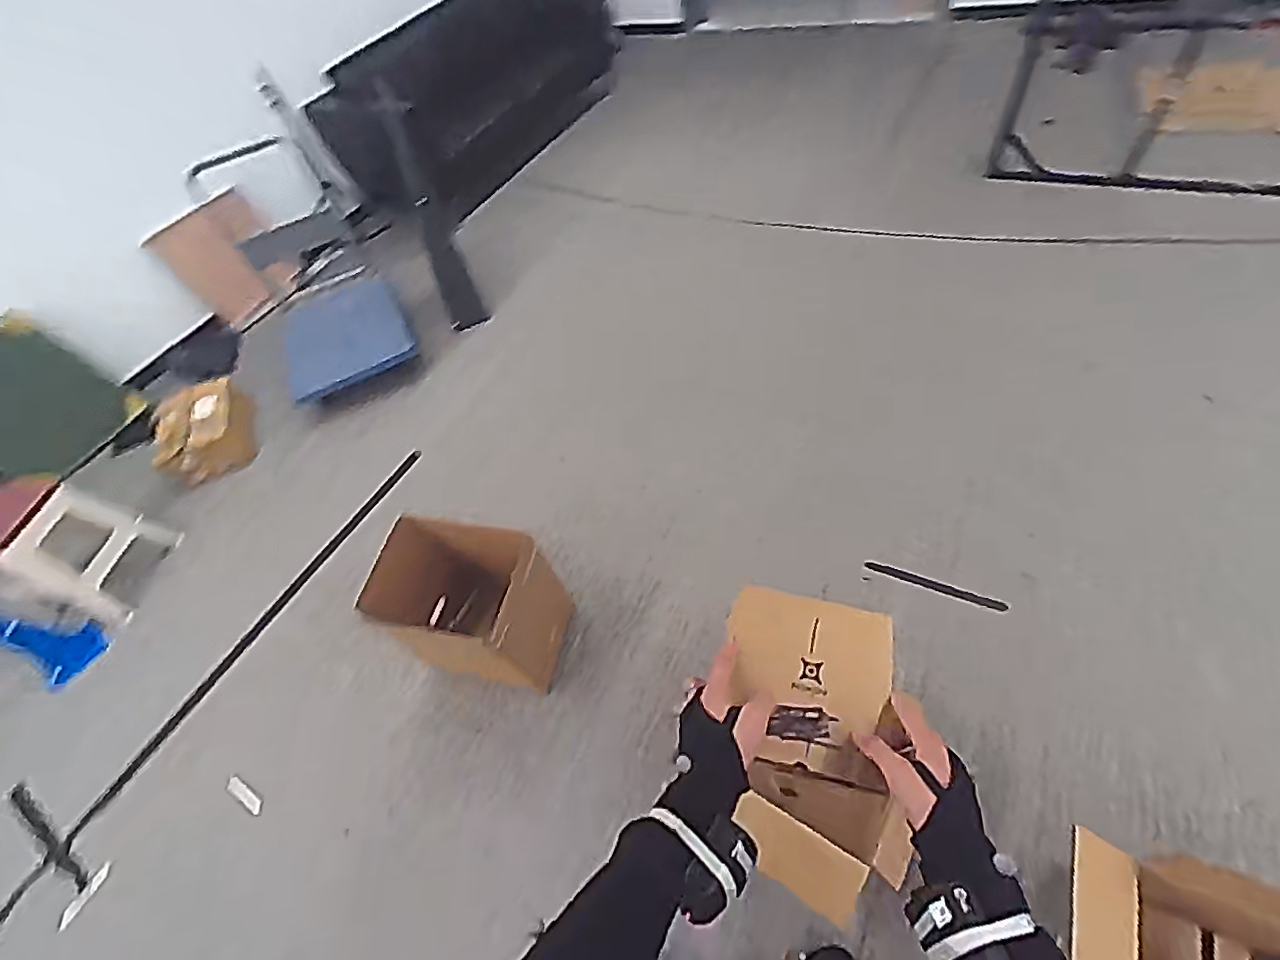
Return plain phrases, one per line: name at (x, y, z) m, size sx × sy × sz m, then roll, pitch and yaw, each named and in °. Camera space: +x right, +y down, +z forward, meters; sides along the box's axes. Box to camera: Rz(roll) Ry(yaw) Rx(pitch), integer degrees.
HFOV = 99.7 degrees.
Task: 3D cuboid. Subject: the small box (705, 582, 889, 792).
small box at (0.171, 0.243, 0.625) m, size 0.168 × 0.176 × 0.179 m, roll 11°, pitch 61°, yaw 8°
